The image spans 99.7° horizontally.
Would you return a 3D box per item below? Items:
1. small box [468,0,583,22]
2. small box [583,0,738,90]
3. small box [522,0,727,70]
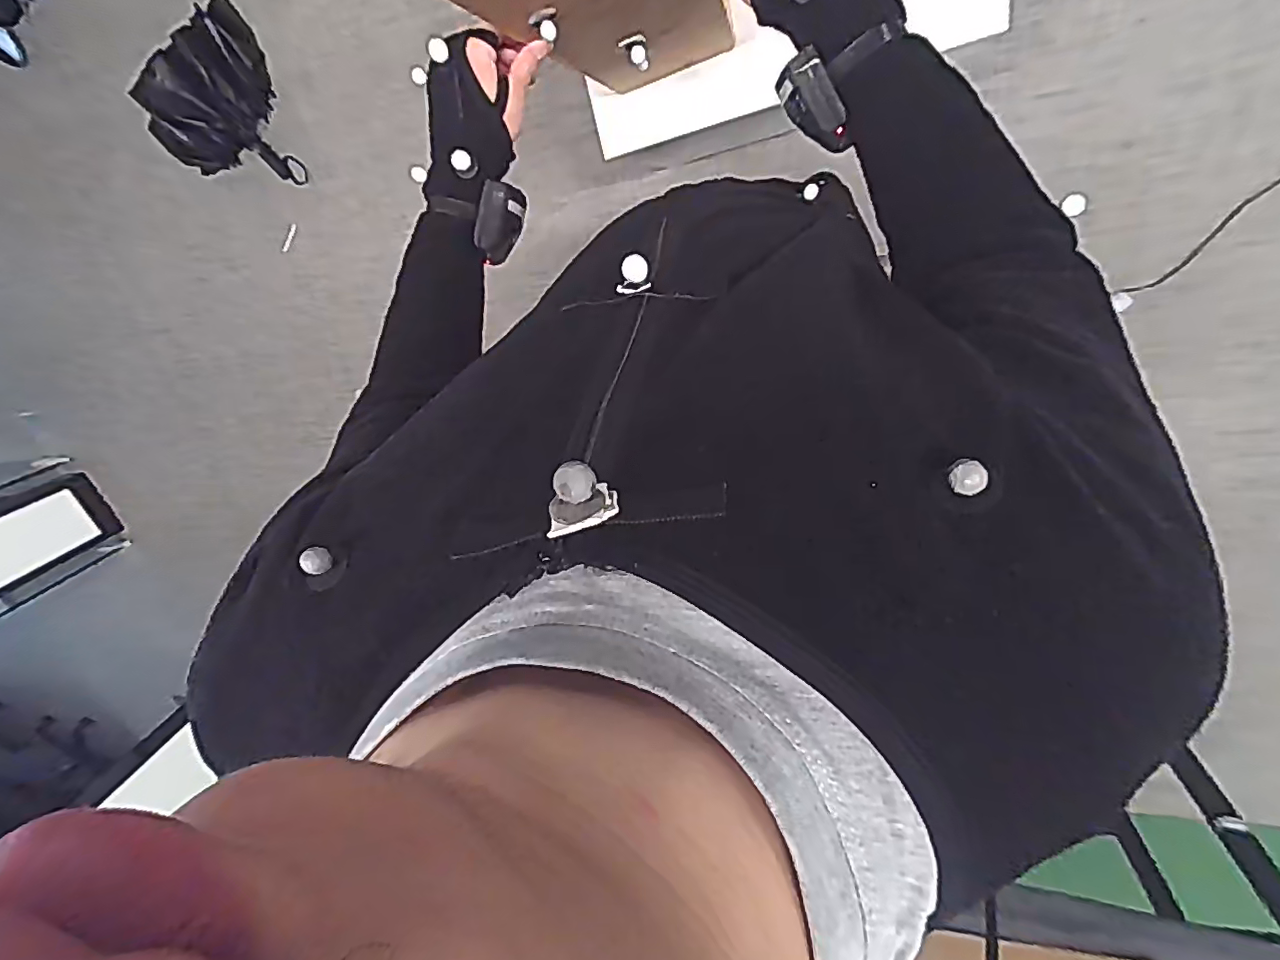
[{"bbox_3d":[-0.068,-0.424,0.330,0.168,0.176,0.179,-11,113,21],"label":"small box"},{"bbox_3d":[0.010,-0.578,0.608,0.168,0.176,0.179,-8,115,19],"label":"small box"},{"bbox_3d":[-0.027,-0.500,0.470,0.168,0.176,0.179,-10,115,21],"label":"small box"}]
